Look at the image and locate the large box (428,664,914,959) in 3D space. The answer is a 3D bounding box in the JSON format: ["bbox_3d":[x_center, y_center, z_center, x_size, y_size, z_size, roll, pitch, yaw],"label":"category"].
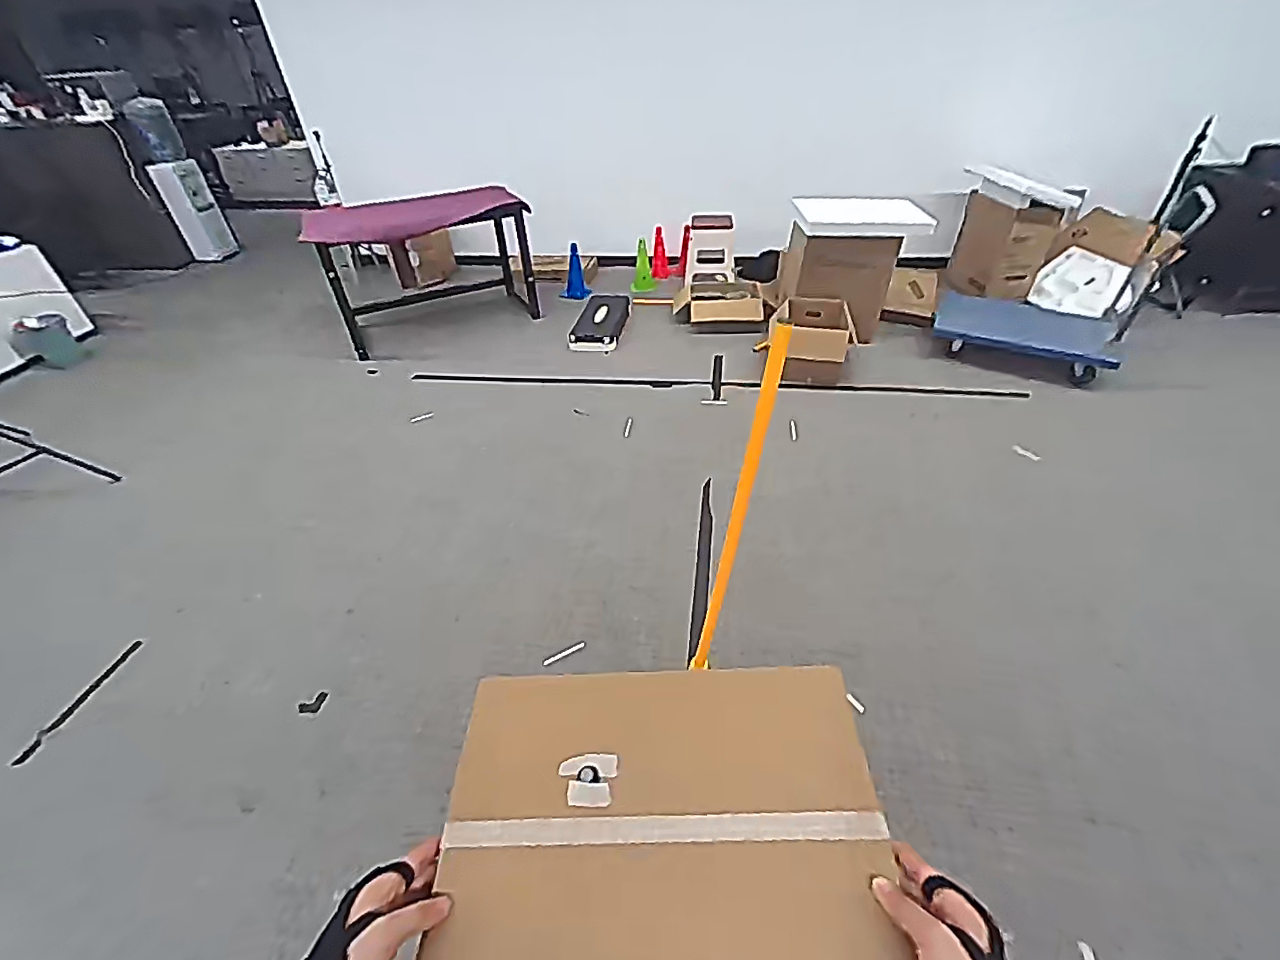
[{"bbox_3d":[0.034,0.437,0.607,0.408,0.320,0.320,-5,41,4],"label":"large box"}]
